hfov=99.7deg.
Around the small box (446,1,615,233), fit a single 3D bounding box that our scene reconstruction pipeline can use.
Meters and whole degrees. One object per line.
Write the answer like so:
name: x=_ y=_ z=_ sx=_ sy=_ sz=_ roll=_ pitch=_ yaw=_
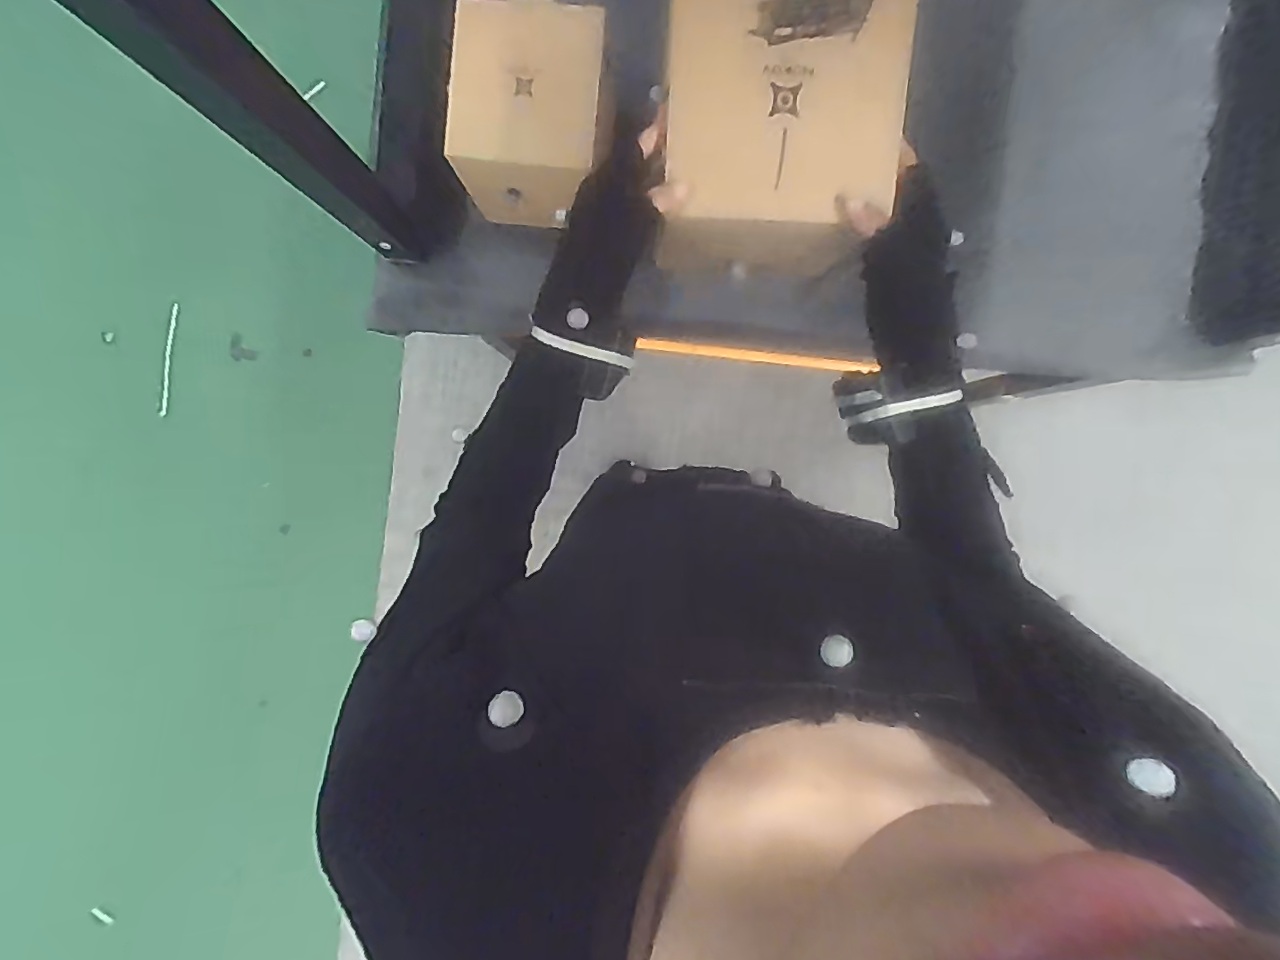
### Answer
small box: x=-0.122 y=-0.429 z=0.668 sx=0.168 sy=0.176 sz=0.179 roll=5 pitch=90 yaw=1
